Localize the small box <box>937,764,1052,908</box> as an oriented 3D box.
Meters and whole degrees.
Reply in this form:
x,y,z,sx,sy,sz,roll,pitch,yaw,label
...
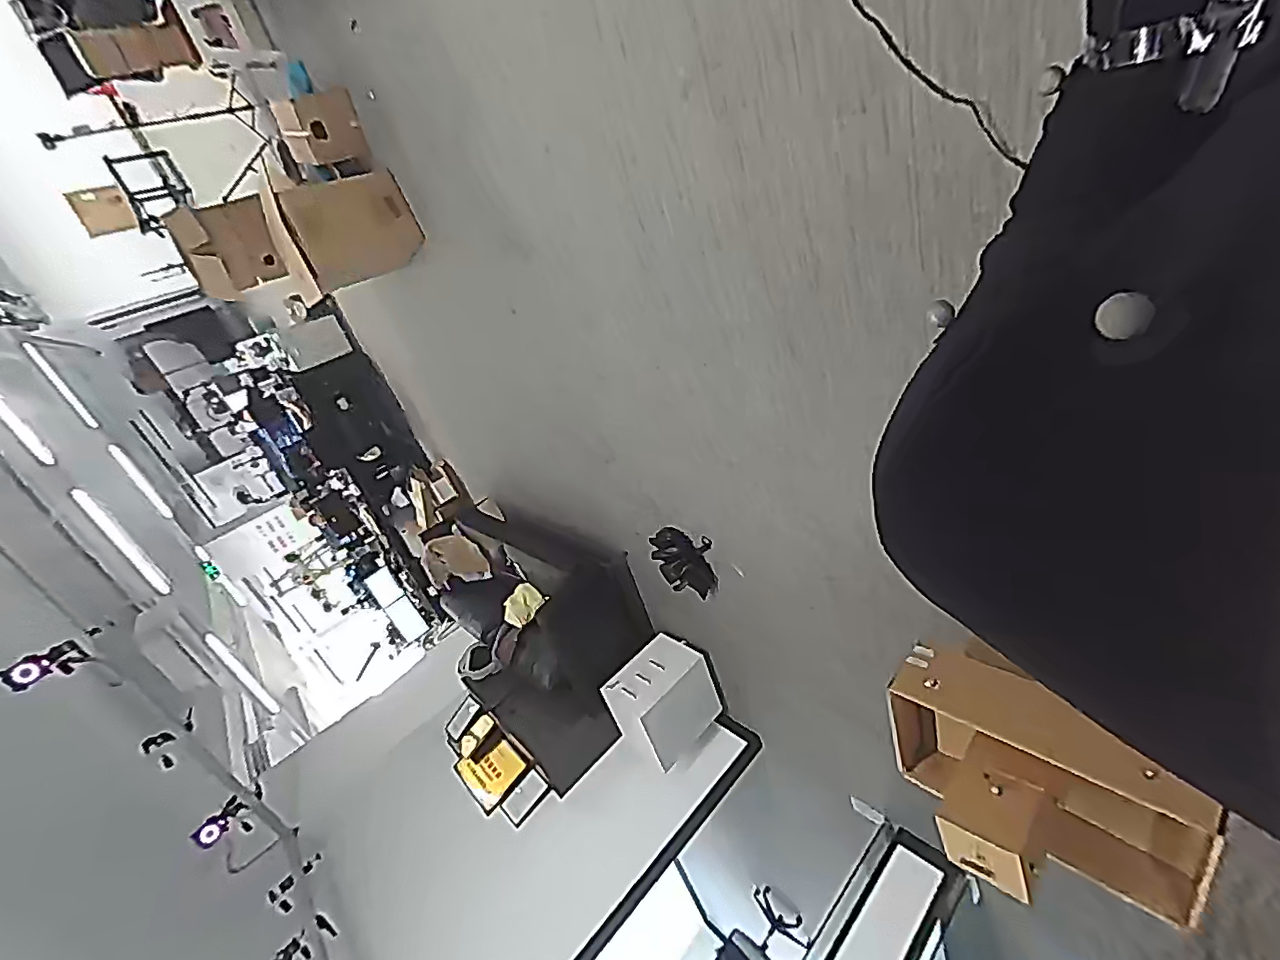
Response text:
x,y,z,sx,sy,sz,roll,pitch,yaw,label
0.803,0.793,1.220,0.168,0.176,0.179,3,123,51,small box

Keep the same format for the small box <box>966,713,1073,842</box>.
x,y,z,sx,sy,sz,roll,pitch,yaw,label
0.917,0.707,1.301,0.168,0.176,0.179,4,123,51,small box
